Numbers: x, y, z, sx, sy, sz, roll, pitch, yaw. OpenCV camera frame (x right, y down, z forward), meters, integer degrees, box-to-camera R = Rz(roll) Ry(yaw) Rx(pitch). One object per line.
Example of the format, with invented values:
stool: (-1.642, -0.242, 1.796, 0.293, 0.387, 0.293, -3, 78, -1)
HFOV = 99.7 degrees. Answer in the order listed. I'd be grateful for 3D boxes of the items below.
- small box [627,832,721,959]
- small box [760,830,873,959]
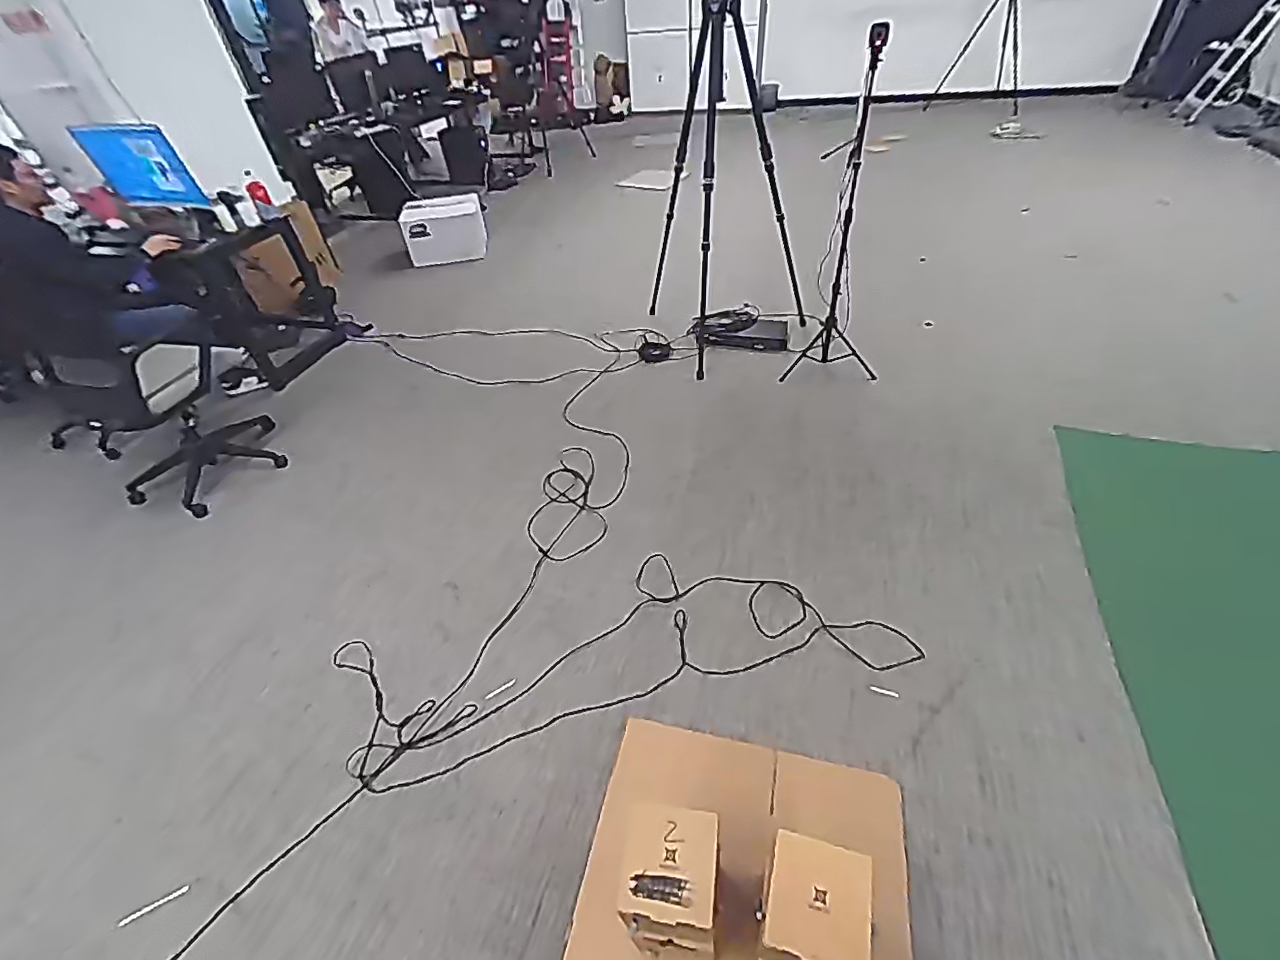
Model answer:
small box: (0.079, 0.868, 1.122, 0.168, 0.176, 0.179, 4, 43, 11)
small box: (0.311, 0.767, 0.963, 0.168, 0.176, 0.179, 8, 45, 17)
